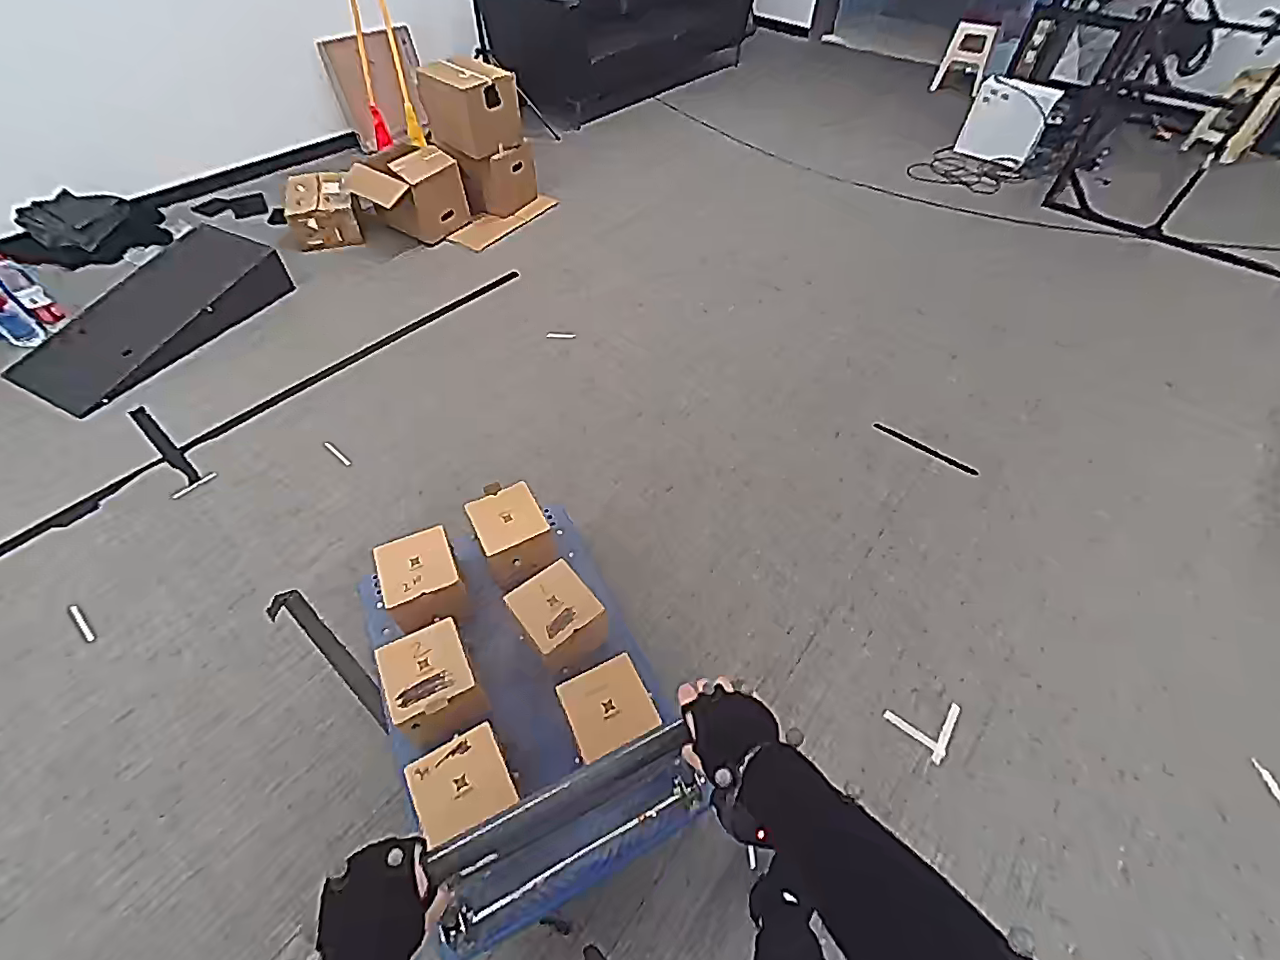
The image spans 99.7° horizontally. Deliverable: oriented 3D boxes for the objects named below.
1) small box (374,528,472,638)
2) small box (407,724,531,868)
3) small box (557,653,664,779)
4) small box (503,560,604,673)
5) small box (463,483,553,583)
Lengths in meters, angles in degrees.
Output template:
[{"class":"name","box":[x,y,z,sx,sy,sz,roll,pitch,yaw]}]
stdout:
[{"class":"small box","box":[-0.528,0.254,1.323,0.168,0.176,0.179,-20,55,-17]},{"class":"small box","box":[-0.322,0.612,1.044,0.168,0.176,0.179,-24,56,-22]},{"class":"small box","box":[-0.062,0.505,1.145,0.168,0.176,0.179,-21,55,-19]},{"class":"small box","box":[-0.197,0.330,1.278,0.168,0.176,0.179,-33,59,-25]},{"class":"small box","box":[-0.341,0.147,1.420,0.168,0.176,0.179,-25,56,-20]}]
